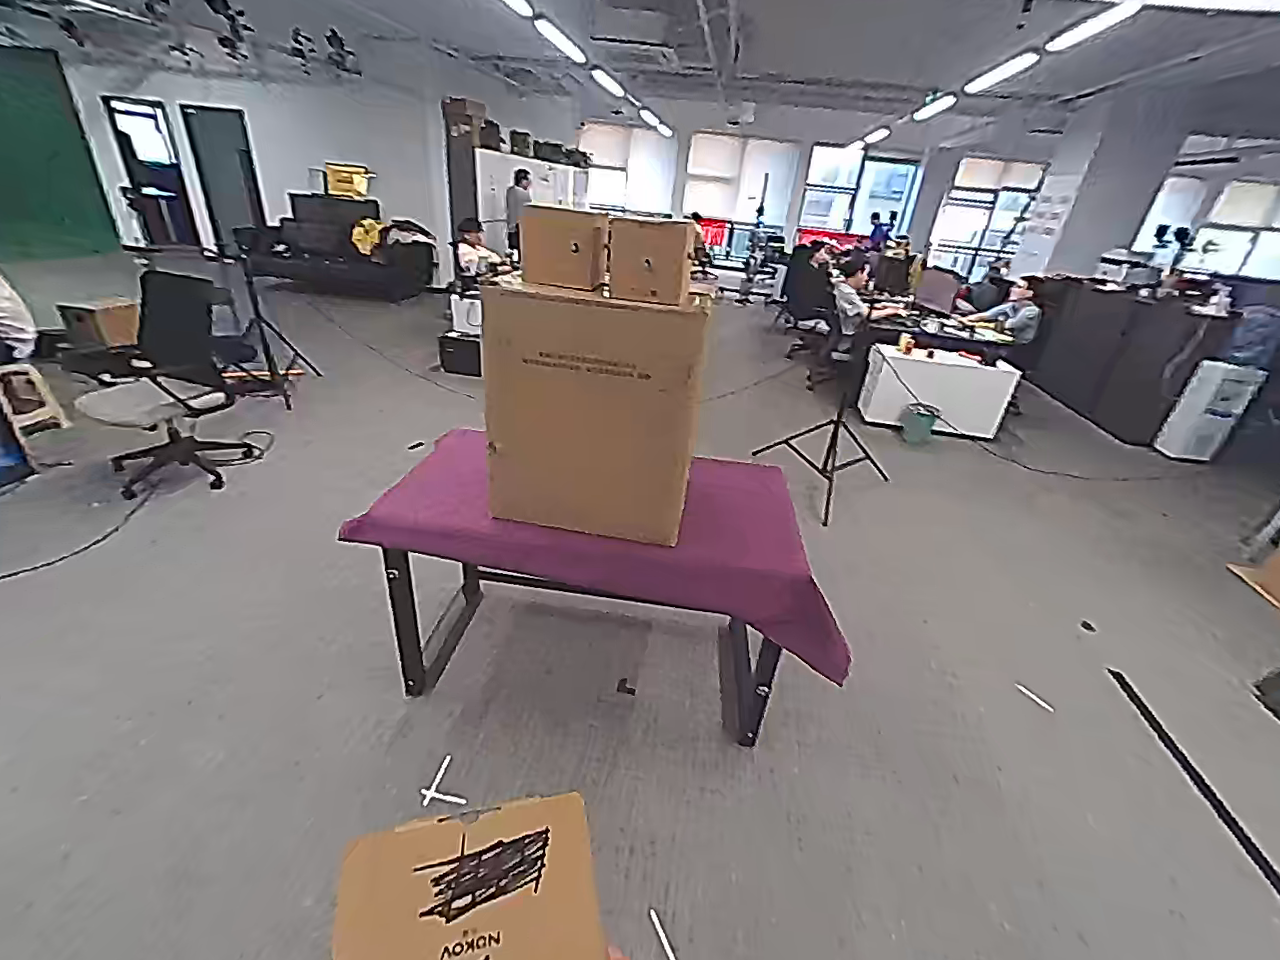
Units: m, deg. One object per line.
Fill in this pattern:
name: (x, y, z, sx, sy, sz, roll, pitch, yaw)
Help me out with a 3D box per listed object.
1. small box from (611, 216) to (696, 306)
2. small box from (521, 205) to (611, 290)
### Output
small box: (0.031, -0.503, 1.239, 0.168, 0.176, 0.179, 9, 28, 7)
small box: (-0.177, -0.560, 1.306, 0.179, 0.176, 0.168, 8, 27, 5)
